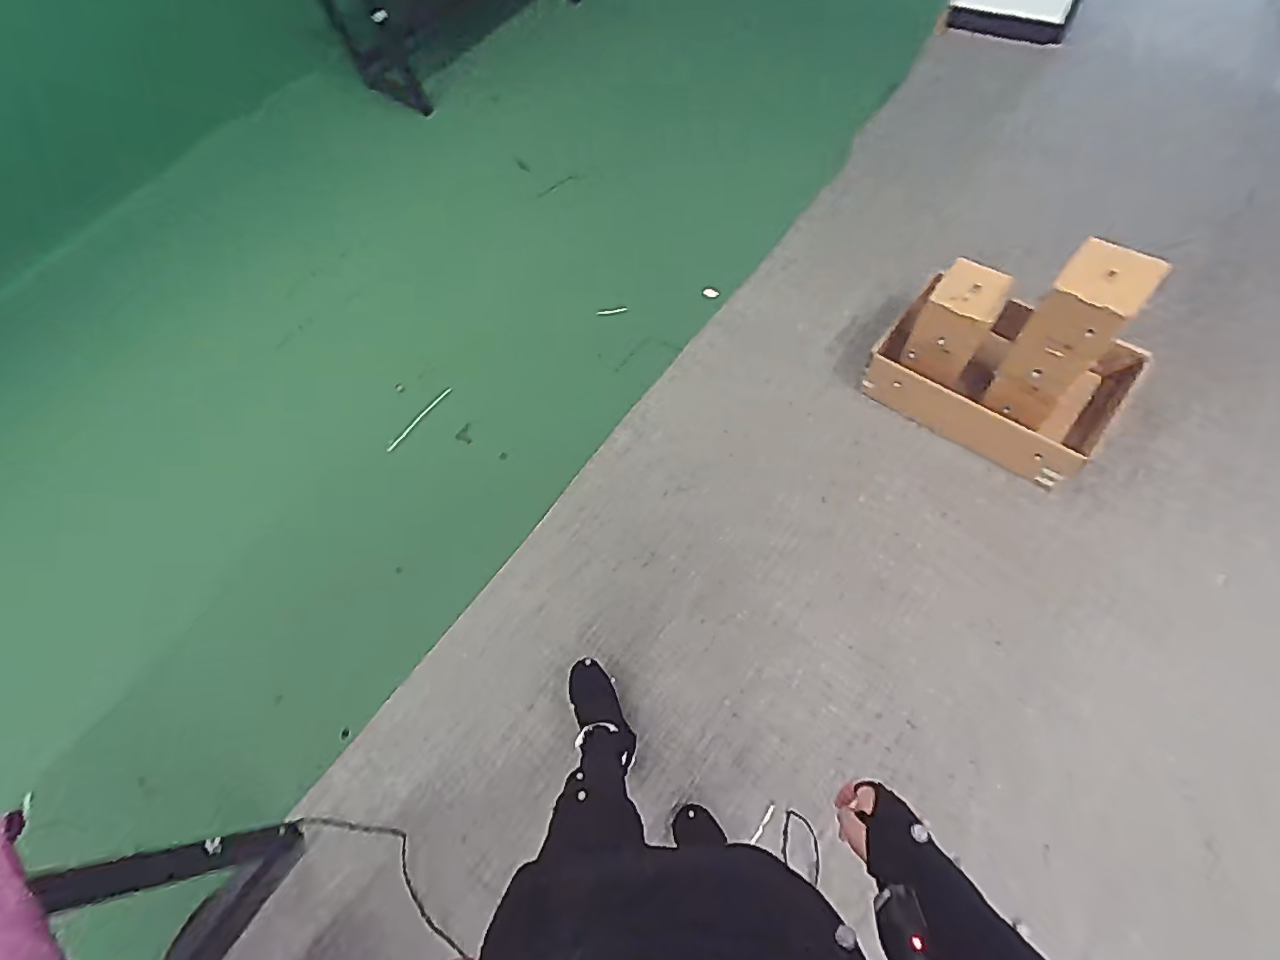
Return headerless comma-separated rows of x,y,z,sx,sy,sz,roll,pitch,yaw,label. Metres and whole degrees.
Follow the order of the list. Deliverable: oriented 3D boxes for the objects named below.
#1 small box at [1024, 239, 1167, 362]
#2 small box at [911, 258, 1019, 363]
1.030,-0.407,1.242,0.168,0.176,0.179,38,77,25,small box
0.871,-0.456,1.470,0.168,0.176,0.179,35,75,21,small box
